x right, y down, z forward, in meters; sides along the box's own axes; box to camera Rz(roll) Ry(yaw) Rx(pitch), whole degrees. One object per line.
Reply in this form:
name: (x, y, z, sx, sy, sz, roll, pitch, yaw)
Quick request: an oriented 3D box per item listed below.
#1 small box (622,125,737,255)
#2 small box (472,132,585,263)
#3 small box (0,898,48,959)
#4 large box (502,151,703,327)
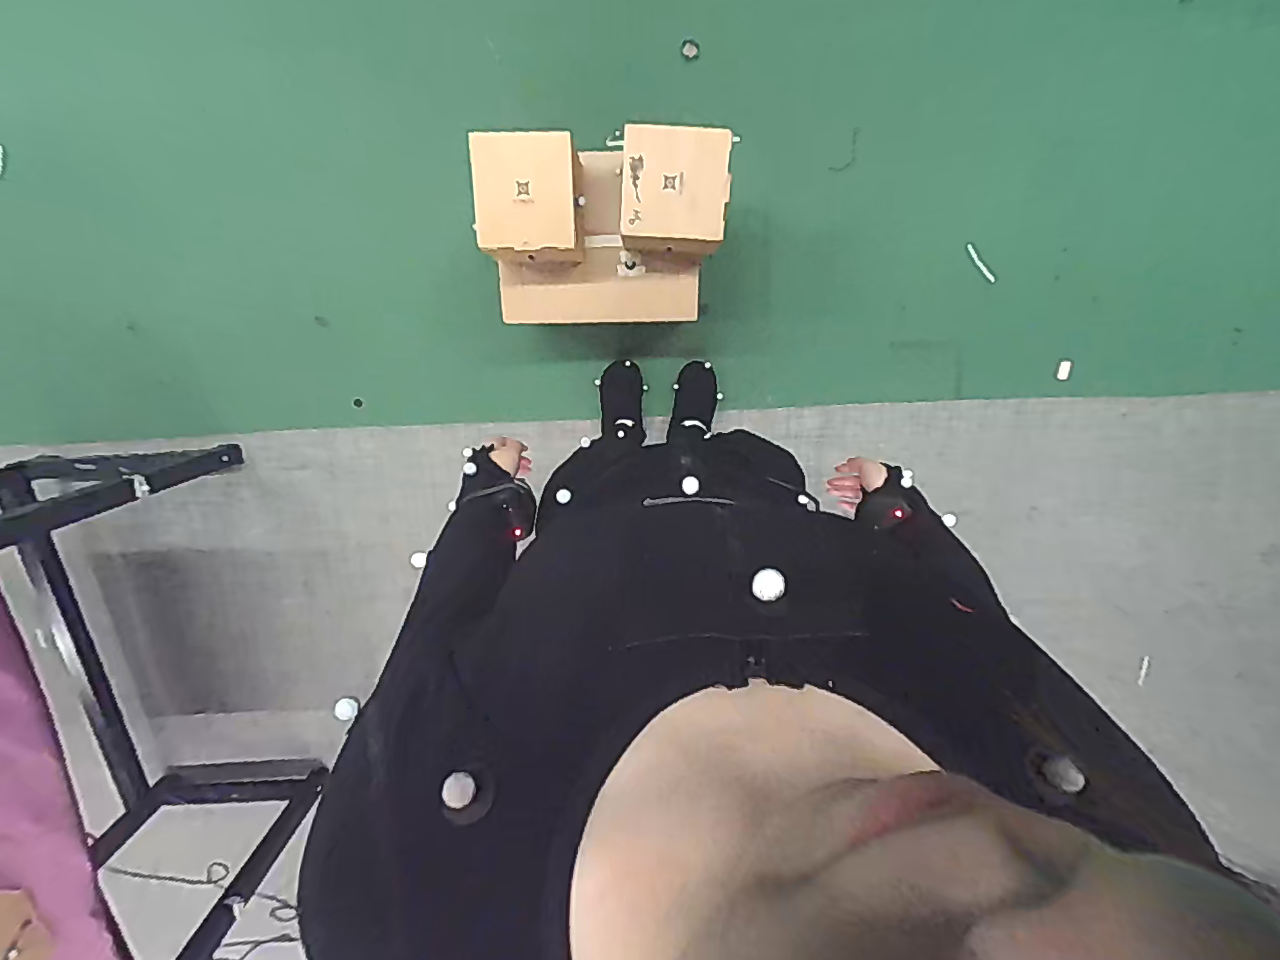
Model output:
small box: (0.062, -0.496, 0.947, 0.179, 0.176, 0.168, 4, 106, 0)
small box: (-0.187, -0.487, 0.955, 0.168, 0.176, 0.179, -1, 106, 0)
small box: (-1.205, 0.856, 0.925, 0.179, 0.176, 0.168, -3, 107, 3)
large box: (-0.078, -0.509, 1.200, 0.408, 0.320, 0.320, -1, 107, 0)
